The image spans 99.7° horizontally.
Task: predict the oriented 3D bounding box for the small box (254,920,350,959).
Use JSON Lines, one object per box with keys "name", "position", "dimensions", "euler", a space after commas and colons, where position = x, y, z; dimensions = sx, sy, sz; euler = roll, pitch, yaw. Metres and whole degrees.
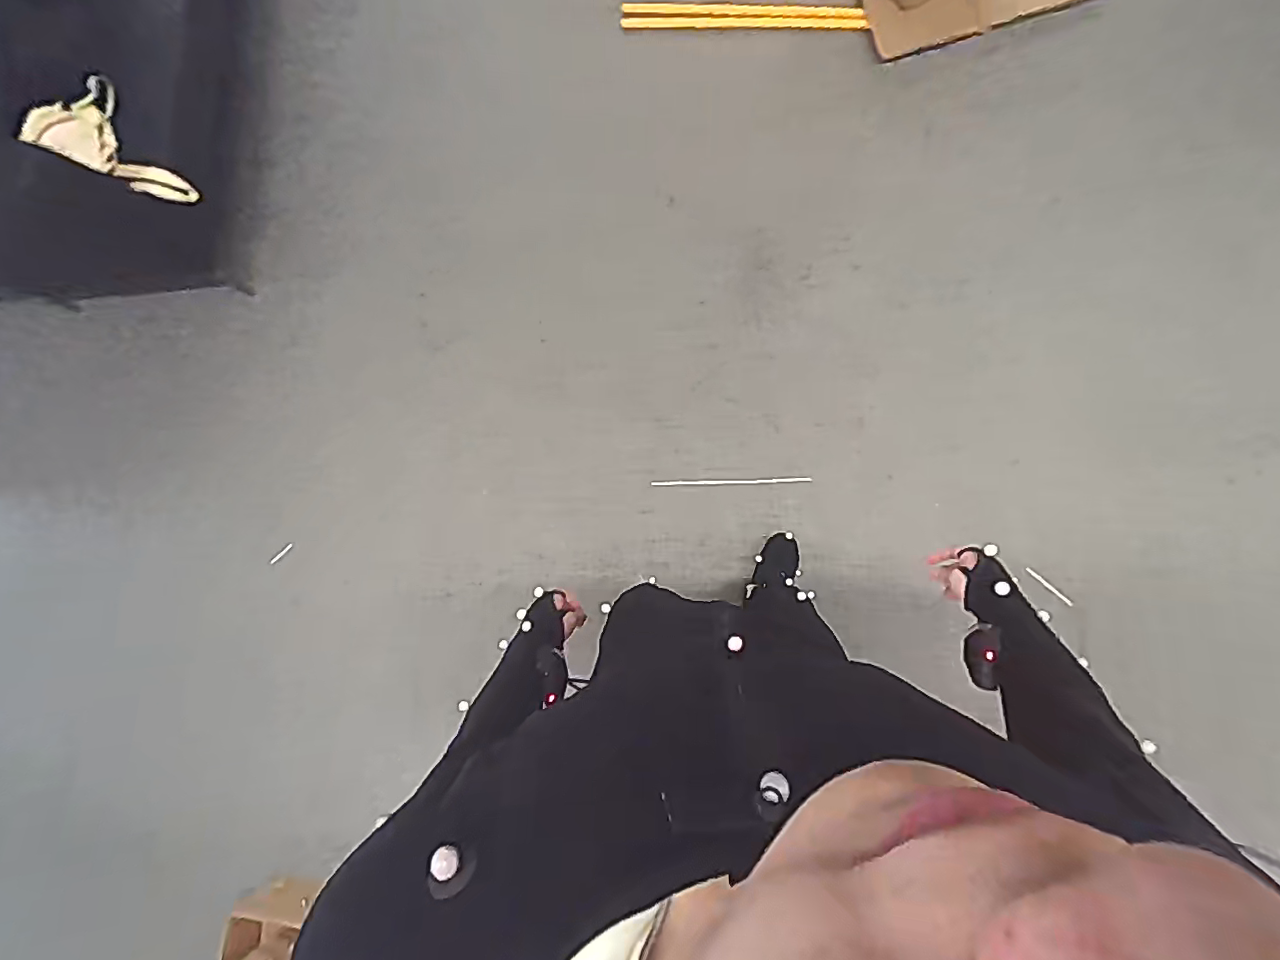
{"name": "small box", "position": [-0.974, 1.410, 1.545], "dimensions": [0.179, 0.176, 0.168], "euler": [4, 83, 11]}
